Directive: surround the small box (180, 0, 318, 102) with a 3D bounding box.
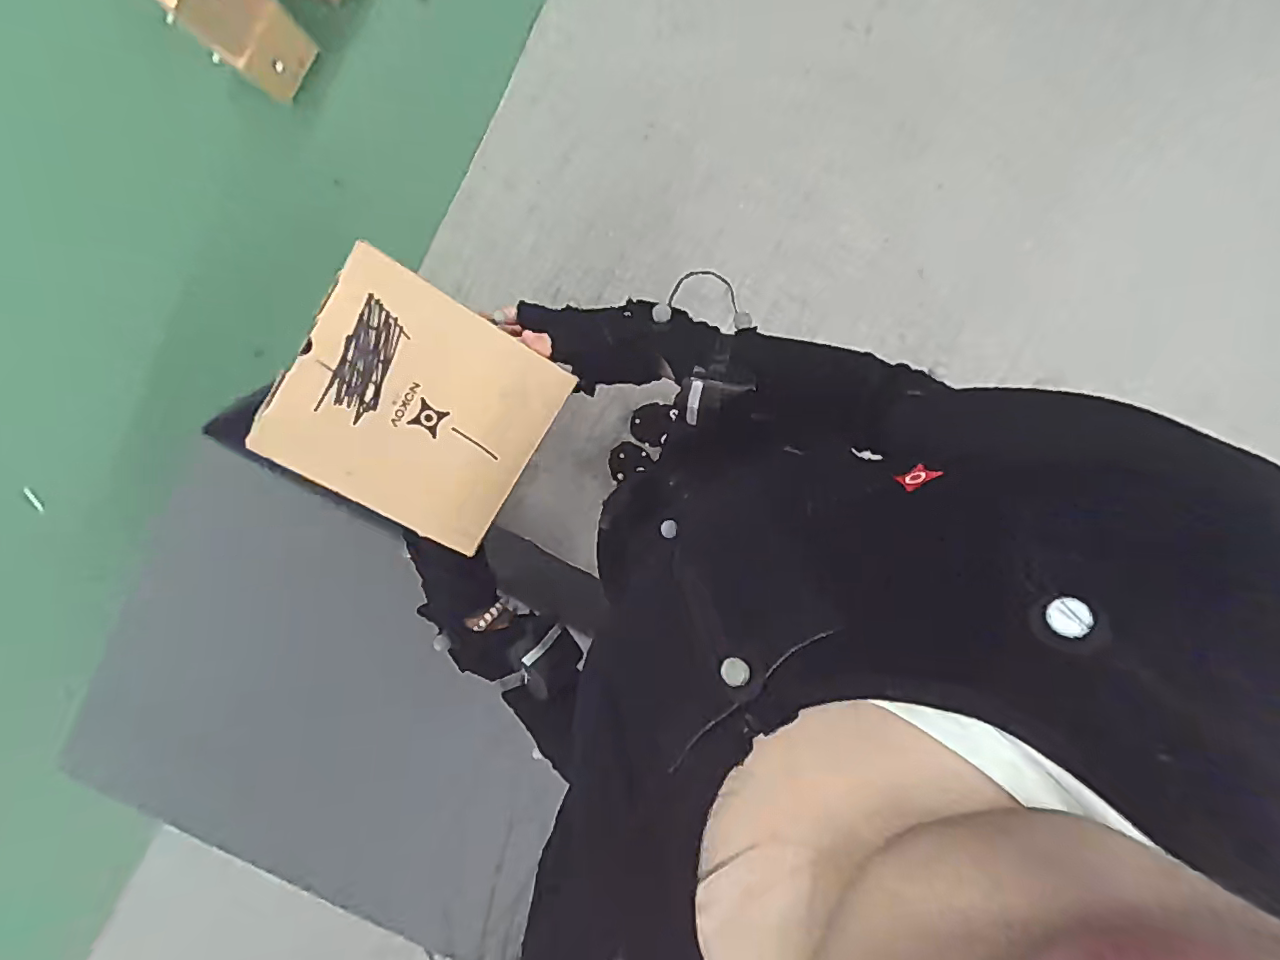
[{"bbox_3d":[-0.917,-1.050,1.287,0.179,0.176,0.168,34,97,-3],"label":"small box"}]

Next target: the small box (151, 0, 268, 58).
[{"bbox_3d":[-0.924,-1.041,1.122,0.168,0.176,0.179,33,97,-3],"label":"small box"}]

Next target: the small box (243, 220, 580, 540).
[{"bbox_3d":[-0.174,-0.079,0.463,0.179,0.176,0.168,33,94,-16],"label":"small box"}]
